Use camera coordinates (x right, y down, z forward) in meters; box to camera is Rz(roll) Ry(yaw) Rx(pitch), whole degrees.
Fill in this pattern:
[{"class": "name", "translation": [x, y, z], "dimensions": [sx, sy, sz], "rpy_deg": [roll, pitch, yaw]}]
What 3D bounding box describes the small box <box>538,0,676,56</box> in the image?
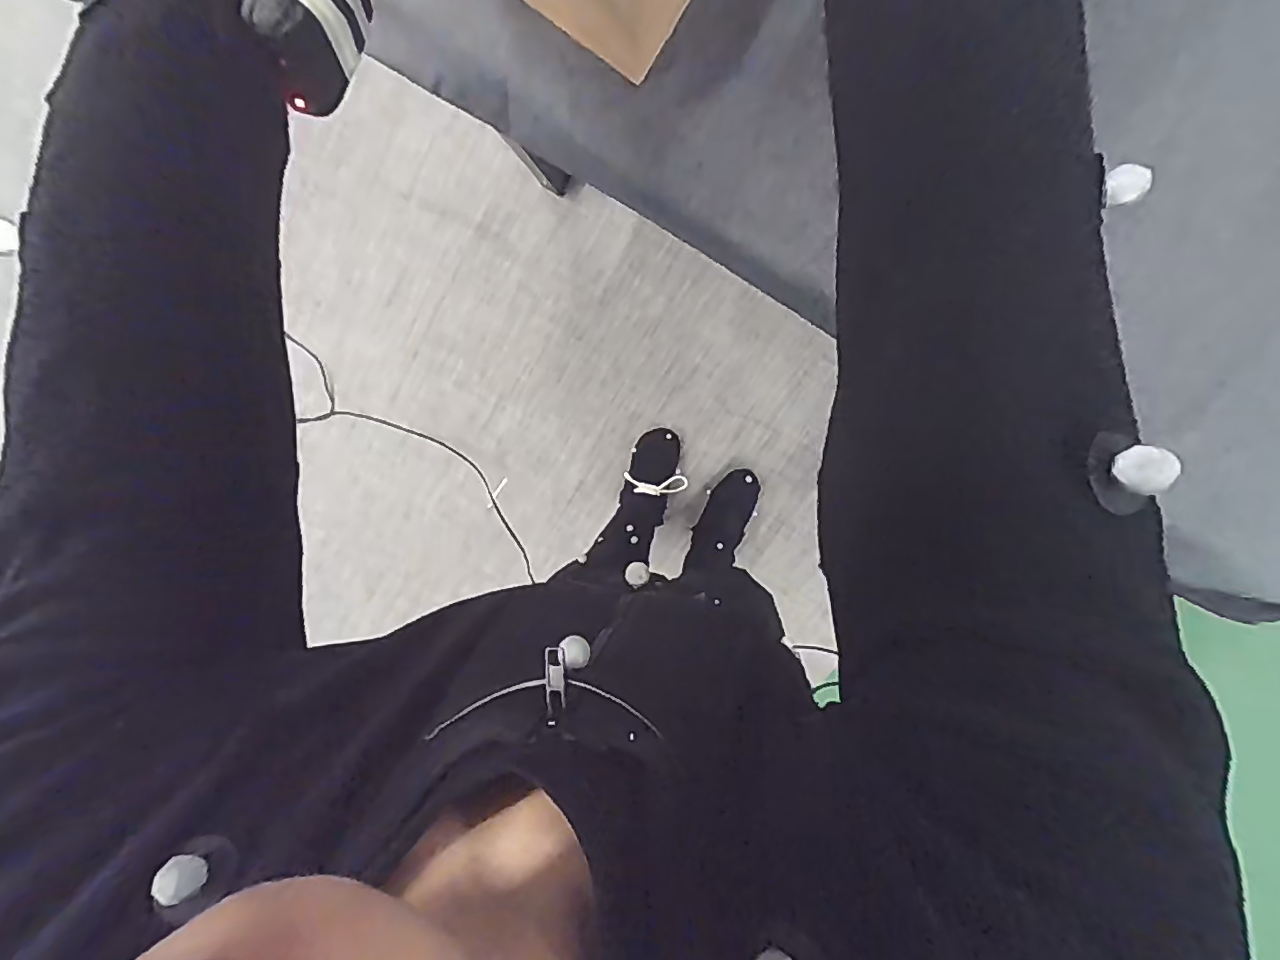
[{"class": "small box", "translation": [-0.030, -0.466, 0.396], "dimensions": [0.179, 0.176, 0.168], "rpy_deg": [34, 101, -5]}]
